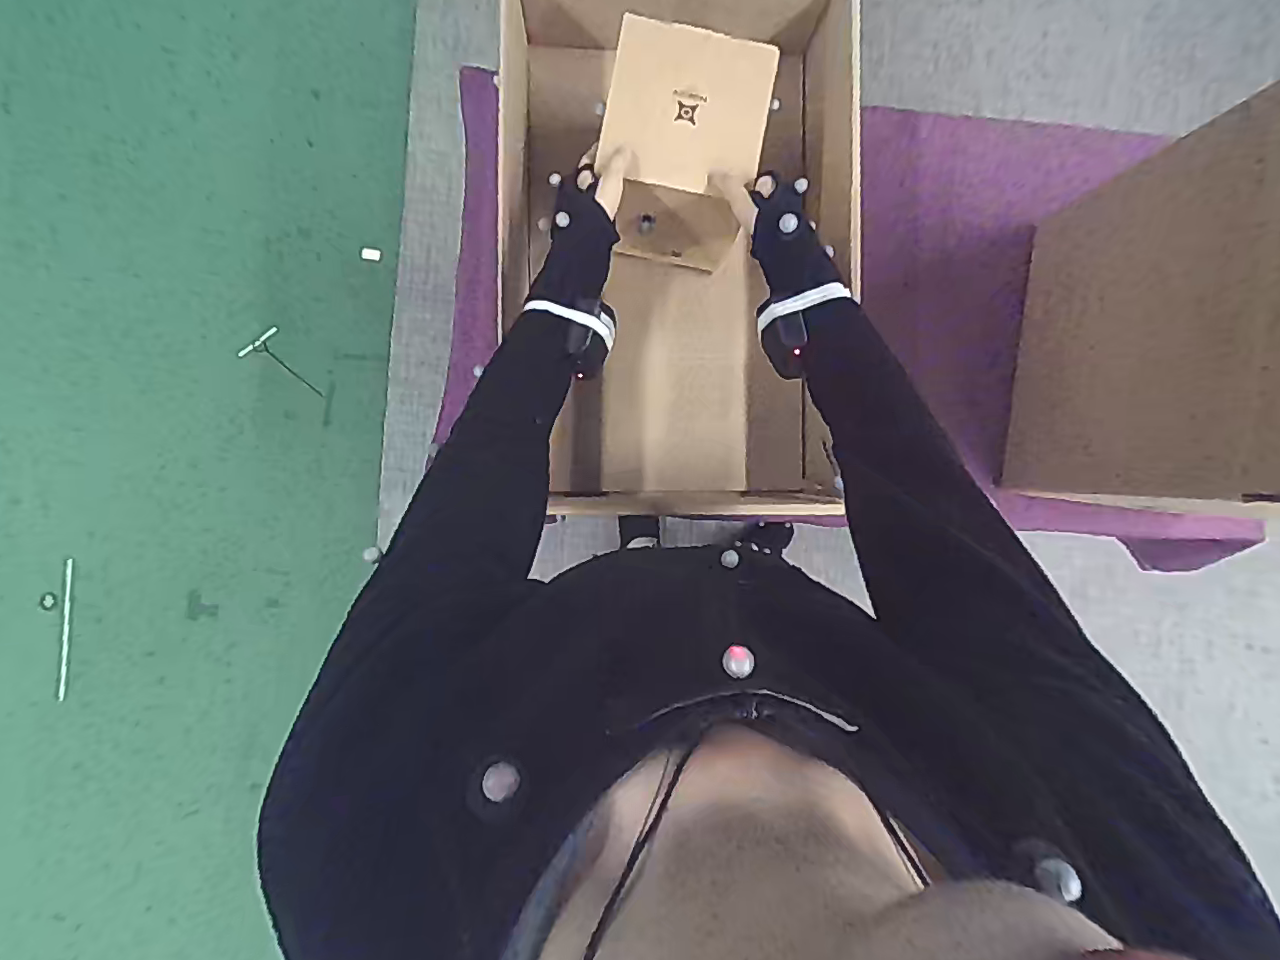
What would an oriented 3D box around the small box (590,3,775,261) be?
[{"bbox_3d":[0.041,-0.382,0.627,0.168,0.176,0.179,10,86,-2],"label":"small box"}]
